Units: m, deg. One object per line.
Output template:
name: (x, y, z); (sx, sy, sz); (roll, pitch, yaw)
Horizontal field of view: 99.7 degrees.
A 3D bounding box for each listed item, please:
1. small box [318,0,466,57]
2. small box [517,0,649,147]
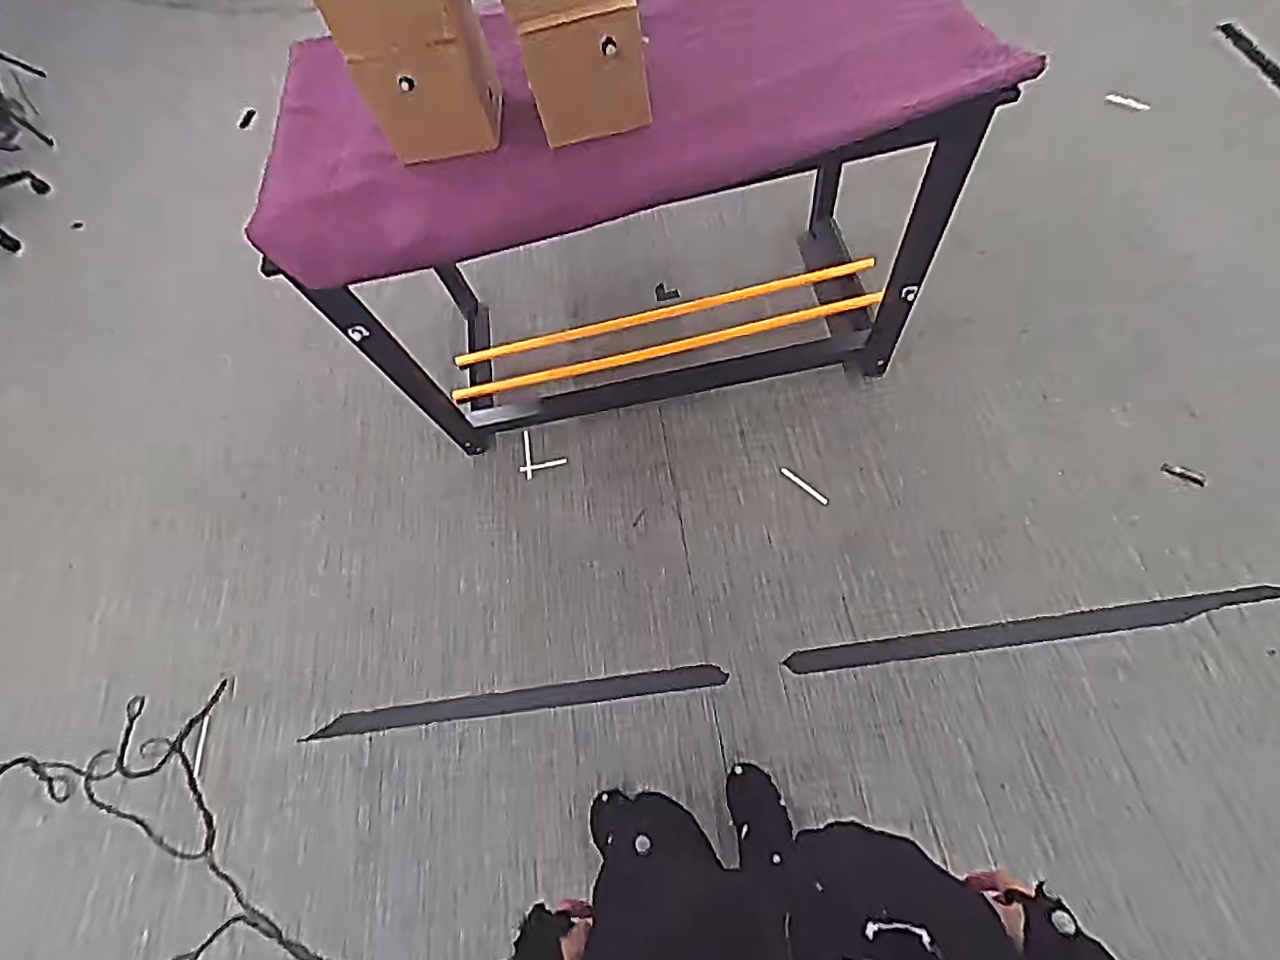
small box: (-0.355, -0.734, 0.749); (0.179, 0.176, 0.168); (-3, 66, 8)
small box: (-0.084, -0.672, 0.858); (0.179, 0.176, 0.168); (-10, 64, 5)
